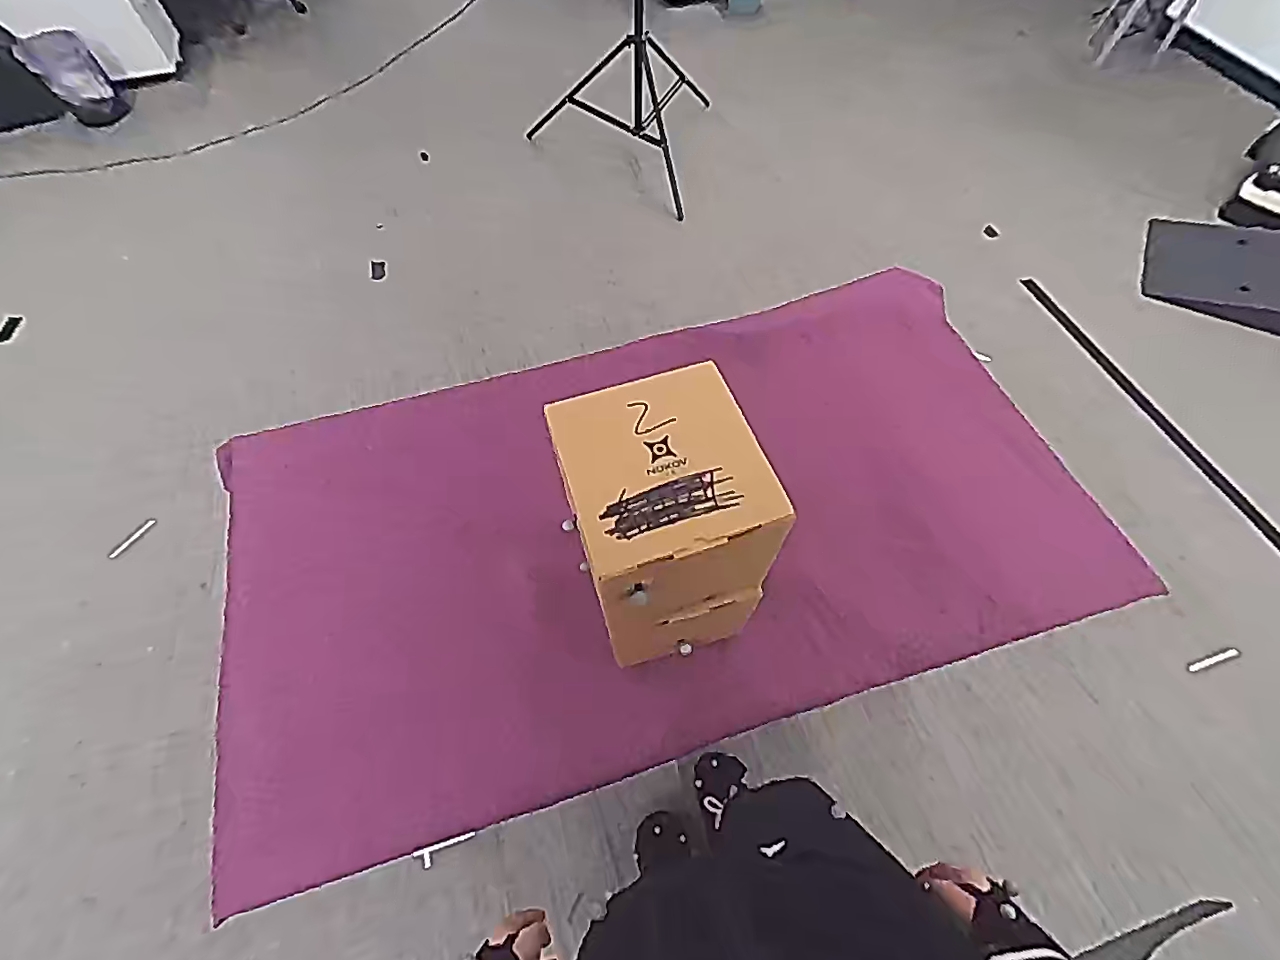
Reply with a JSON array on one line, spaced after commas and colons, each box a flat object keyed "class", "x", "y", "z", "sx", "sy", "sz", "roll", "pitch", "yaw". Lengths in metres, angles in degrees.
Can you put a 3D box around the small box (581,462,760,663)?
[{"class": "small box", "x": 0.028, "y": 0.107, "z": 0.670, "sx": 0.168, "sy": 0.176, "sz": 0.179, "roll": -14, "pitch": 61, "yaw": -7}]
